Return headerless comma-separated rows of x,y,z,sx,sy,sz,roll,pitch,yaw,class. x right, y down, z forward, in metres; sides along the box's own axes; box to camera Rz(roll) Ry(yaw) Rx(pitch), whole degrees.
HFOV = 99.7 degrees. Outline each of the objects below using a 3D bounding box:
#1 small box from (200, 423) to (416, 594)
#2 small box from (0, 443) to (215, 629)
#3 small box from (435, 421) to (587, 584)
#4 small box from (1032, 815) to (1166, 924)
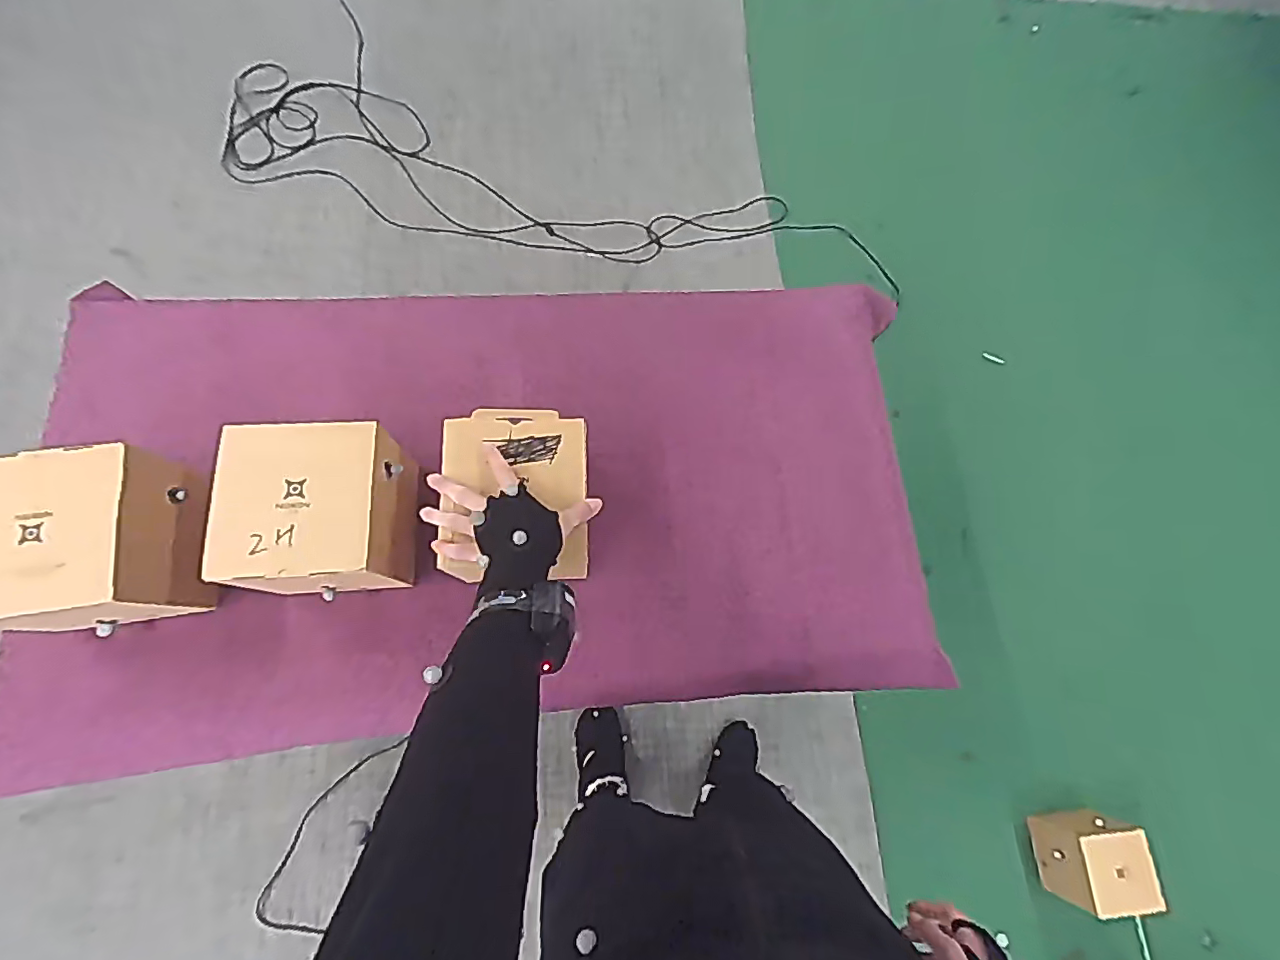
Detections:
-0.386,0.042,0.665,0.168,0.176,0.179,-2,74,-7,small box
-0.631,0.073,0.630,0.168,0.176,0.179,-7,75,-8,small box
-0.152,0.036,0.692,0.168,0.176,0.179,-1,75,-6,small box
1.102,0.941,1.320,0.179,0.176,0.168,-1,74,-7,small box
